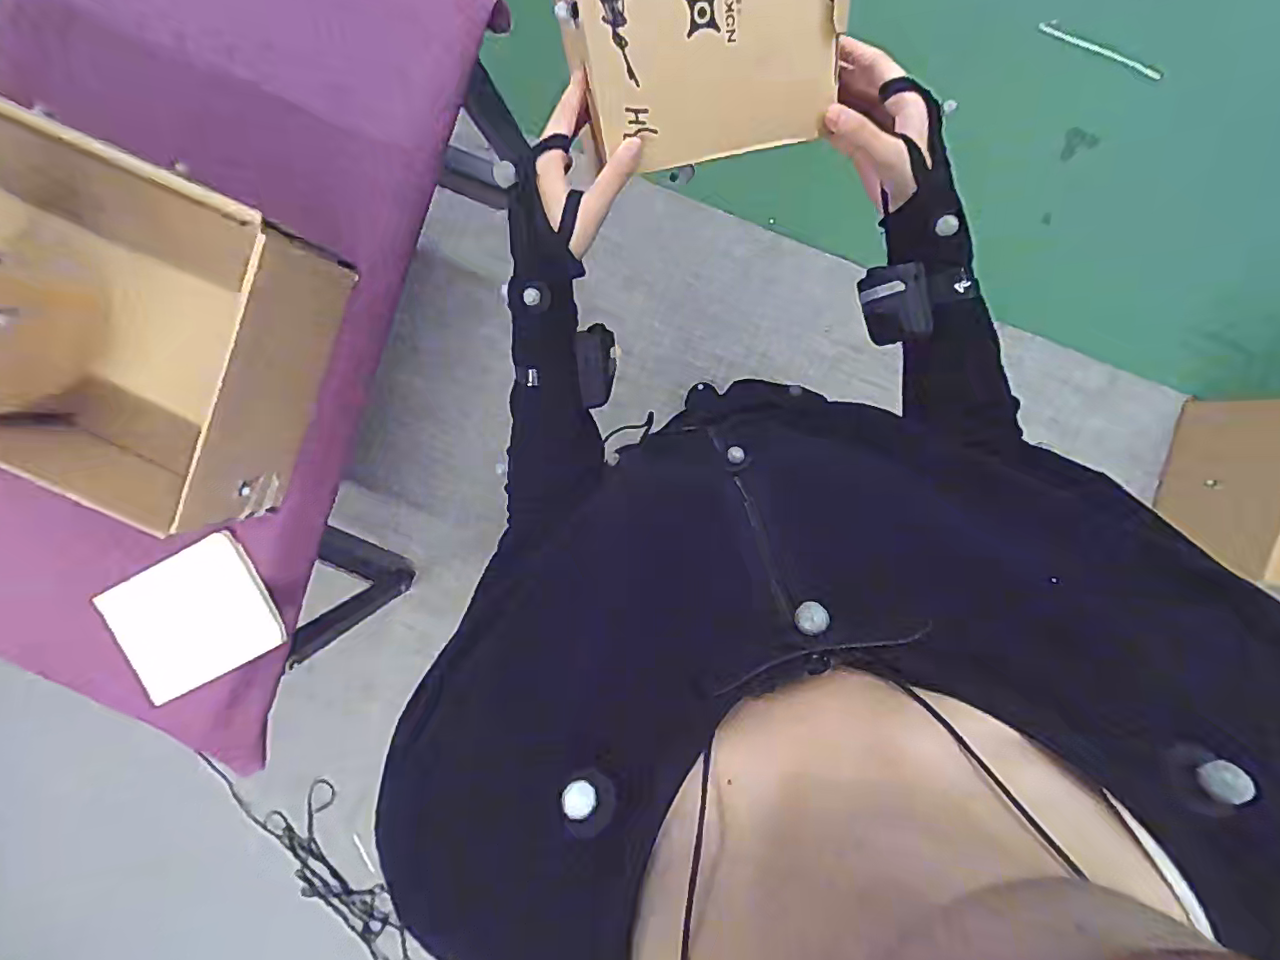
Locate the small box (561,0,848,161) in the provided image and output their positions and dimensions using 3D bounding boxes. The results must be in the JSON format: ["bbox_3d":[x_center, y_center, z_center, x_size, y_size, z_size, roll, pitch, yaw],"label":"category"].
[{"bbox_3d":[0.038,-0.351,0.412,0.179,0.176,0.168,-12,121,-4],"label":"small box"}]

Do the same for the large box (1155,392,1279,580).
[{"bbox_3d":[1.516,0.018,1.248,0.320,0.320,0.408,8,97,2],"label":"large box"}]
